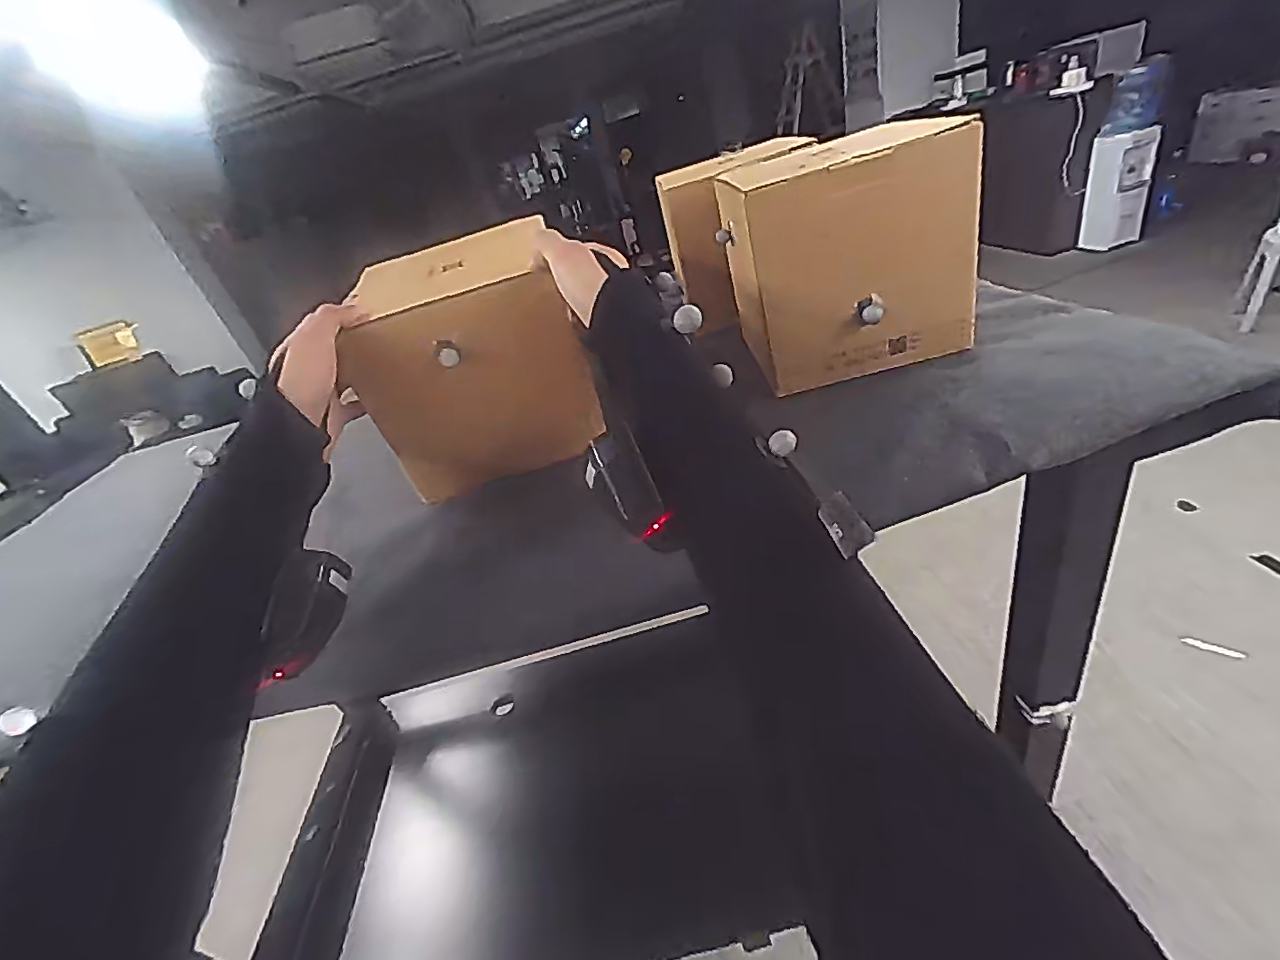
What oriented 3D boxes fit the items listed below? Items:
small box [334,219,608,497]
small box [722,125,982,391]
[{"bbox_3d":[-0.135,-0.112,0.499,0.179,0.176,0.168,-18,39,-1],"label":"small box"},{"bbox_3d":[0.178,-0.201,0.494,0.168,0.176,0.179,-14,31,8],"label":"small box"}]
